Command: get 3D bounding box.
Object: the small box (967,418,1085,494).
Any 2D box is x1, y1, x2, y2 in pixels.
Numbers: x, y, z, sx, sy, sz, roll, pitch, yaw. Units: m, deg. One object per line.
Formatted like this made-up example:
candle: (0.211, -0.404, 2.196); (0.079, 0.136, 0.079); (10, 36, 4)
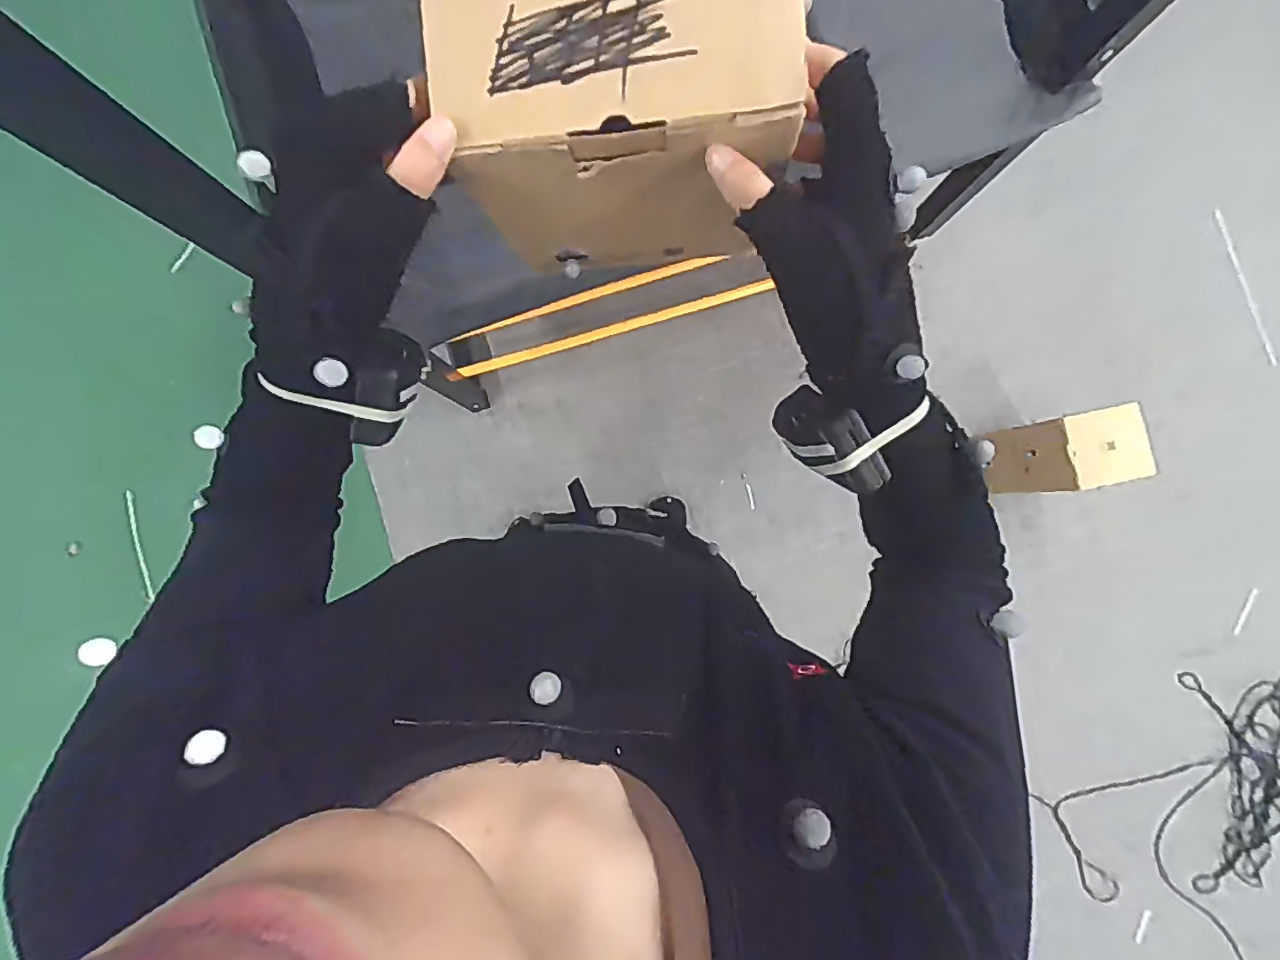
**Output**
small box: (1.011, -0.058, 1.427); (0.179, 0.176, 0.168); (-11, 87, 0)
